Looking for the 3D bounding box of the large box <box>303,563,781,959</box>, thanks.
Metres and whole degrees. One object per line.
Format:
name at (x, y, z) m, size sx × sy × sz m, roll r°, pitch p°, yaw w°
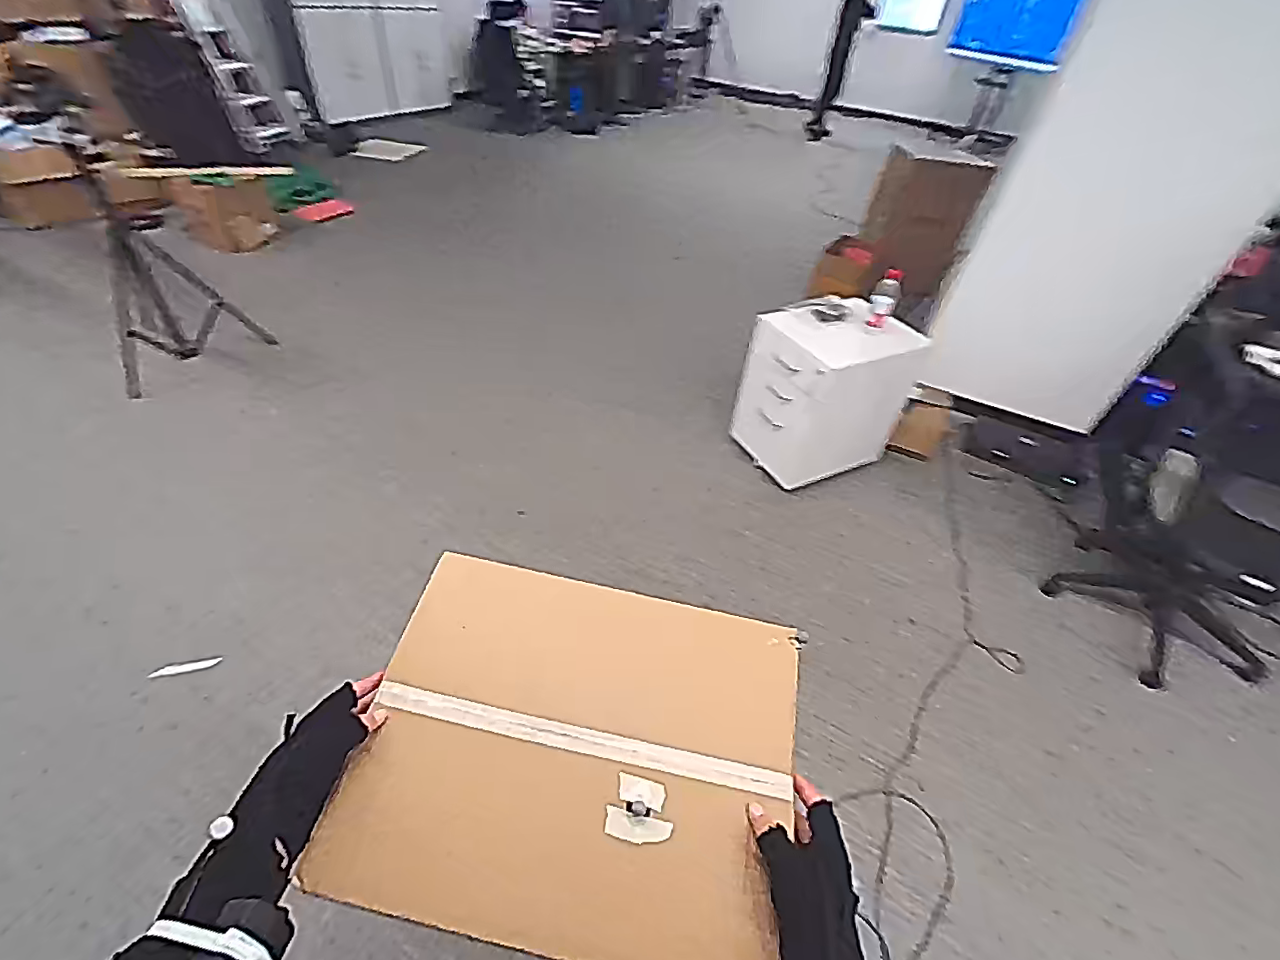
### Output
large box at (-0.076, 0.337, 0.648) m, size 0.408 × 0.320 × 0.320 m, roll 11°, pitch 55°, yaw 2°
